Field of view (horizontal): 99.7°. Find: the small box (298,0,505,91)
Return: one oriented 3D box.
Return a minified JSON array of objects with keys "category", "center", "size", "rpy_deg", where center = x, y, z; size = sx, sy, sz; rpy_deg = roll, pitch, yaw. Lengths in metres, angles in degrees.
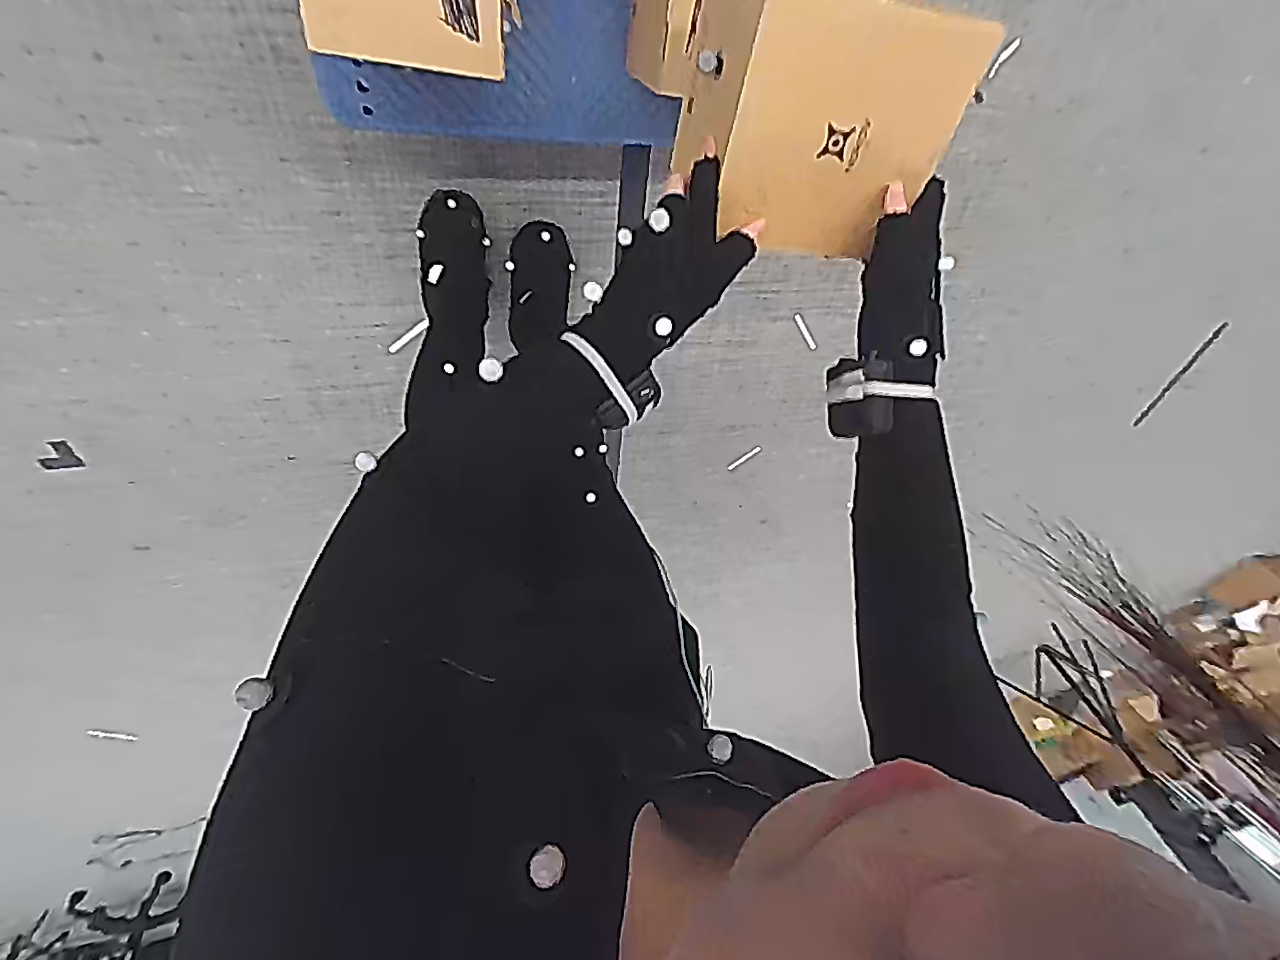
[{"category":"small box","center":[-0.225,-0.501,0.520],"size":[0.179,0.176,0.168],"rpy_deg":[-2,134,-16]}]

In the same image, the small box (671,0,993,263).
[{"category":"small box","center":[0.134,-0.309,0.461],"size":[0.179,0.176,0.168],"rpy_deg":[-1,138,-13]}]
